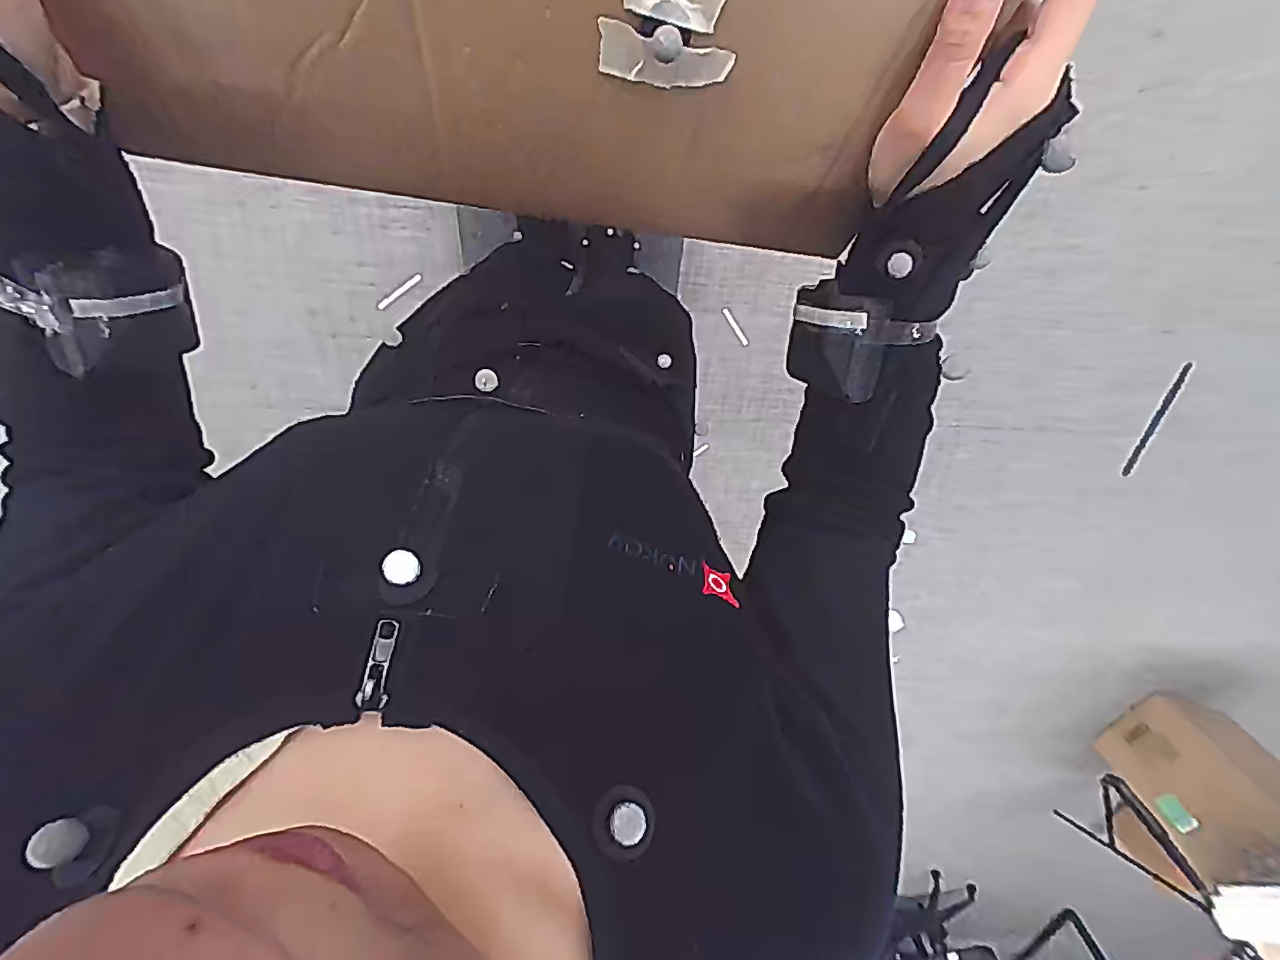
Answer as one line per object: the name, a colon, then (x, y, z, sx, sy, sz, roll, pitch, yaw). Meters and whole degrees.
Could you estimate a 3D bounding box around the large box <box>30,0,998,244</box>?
large box: (-0.046, -0.355, 0.237, 0.408, 0.320, 0.320, 3, 160, -9)
